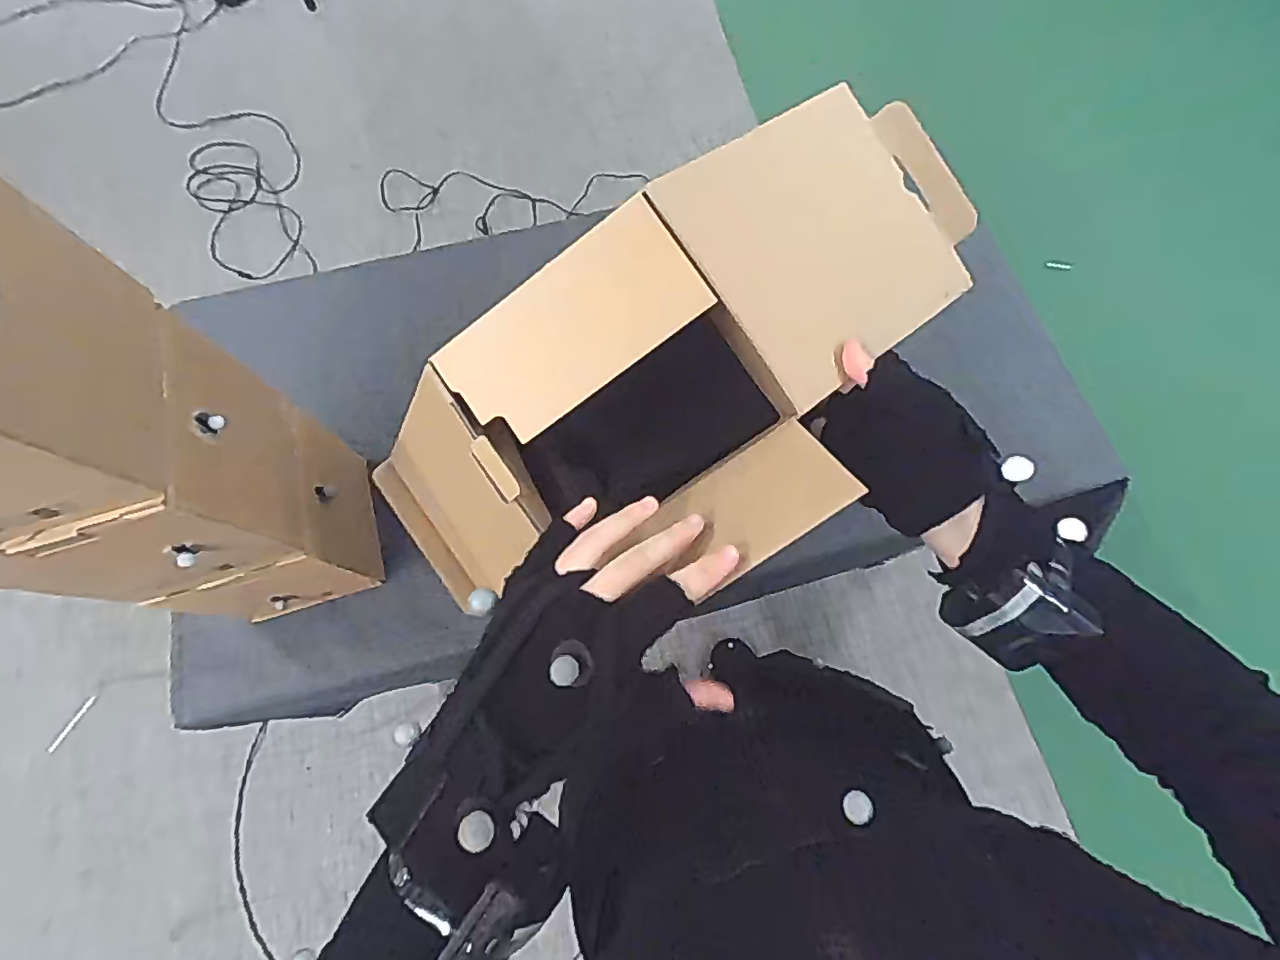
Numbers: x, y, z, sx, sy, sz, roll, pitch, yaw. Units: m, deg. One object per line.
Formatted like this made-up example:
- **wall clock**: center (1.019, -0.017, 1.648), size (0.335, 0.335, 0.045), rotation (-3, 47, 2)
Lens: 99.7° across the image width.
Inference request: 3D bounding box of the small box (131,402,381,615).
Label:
- **small box**: center (-0.420, 0.041, 0.615), size (0.168, 0.176, 0.179), rotation (-17, 72, -5)

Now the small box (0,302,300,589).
- **small box**: center (-0.422, -0.013, 0.462), size (0.168, 0.176, 0.179), rotation (-16, 72, -5)

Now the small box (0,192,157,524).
- **small box**: center (-0.426, -0.073, 0.309), size (0.168, 0.176, 0.179), rotation (-17, 72, -6)
